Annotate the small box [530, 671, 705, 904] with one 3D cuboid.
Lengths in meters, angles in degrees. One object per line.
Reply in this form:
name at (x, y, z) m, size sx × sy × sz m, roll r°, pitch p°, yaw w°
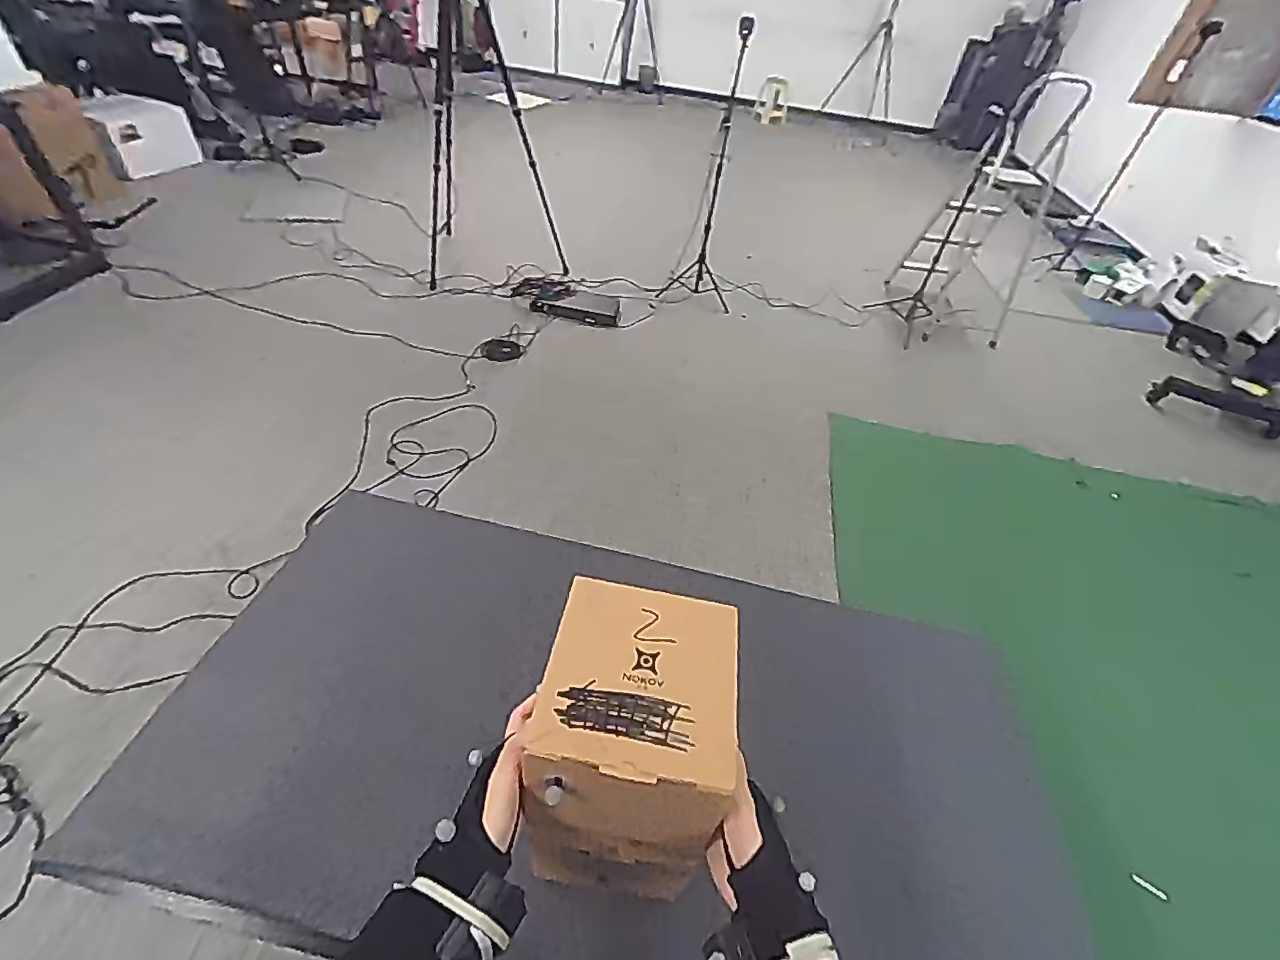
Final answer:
small box at (-0.024, 0.354, 0.625) m, size 0.168 × 0.176 × 0.179 m, roll 10°, pitch 43°, yaw 1°
